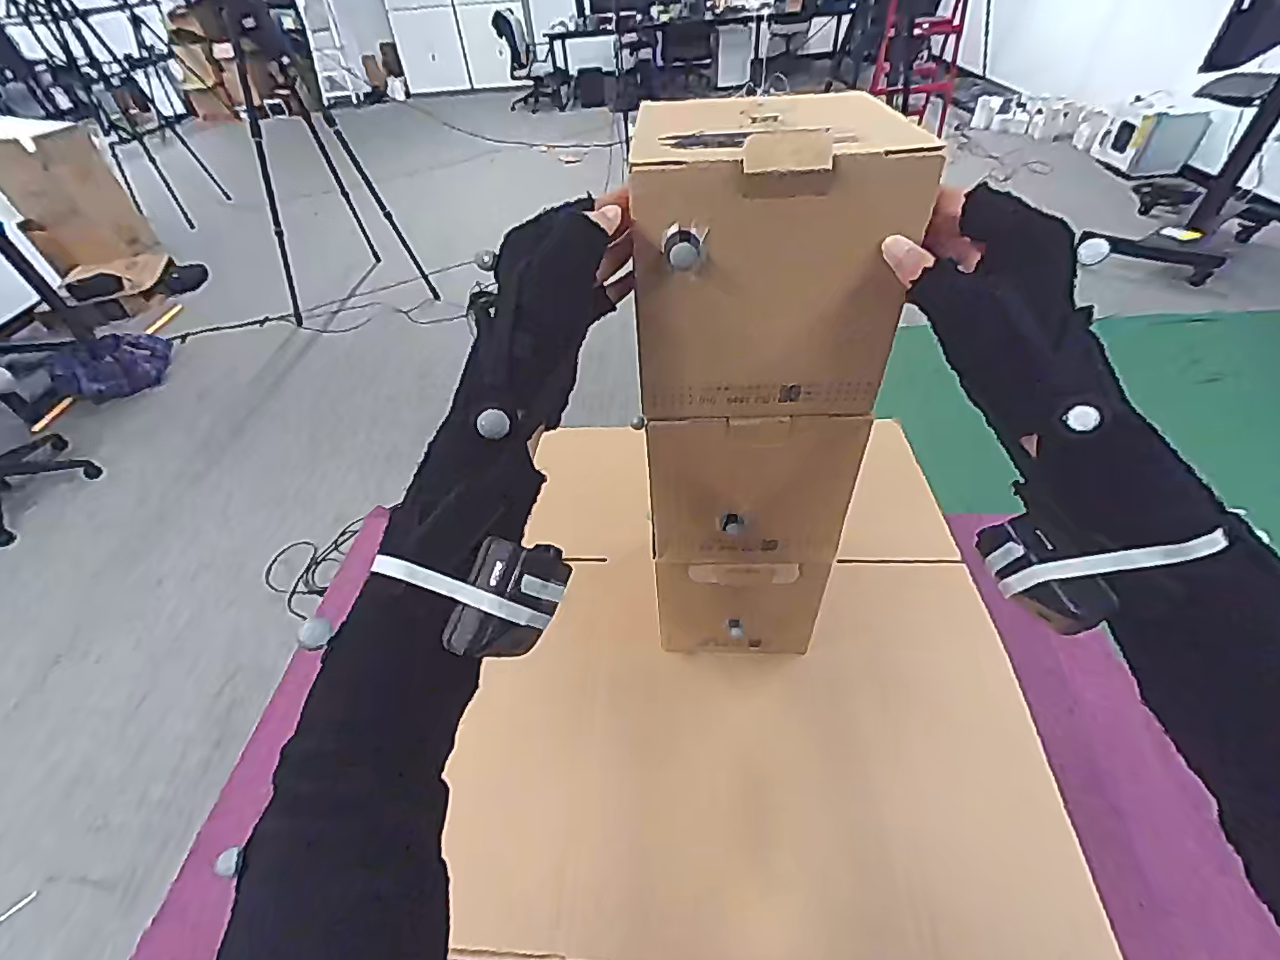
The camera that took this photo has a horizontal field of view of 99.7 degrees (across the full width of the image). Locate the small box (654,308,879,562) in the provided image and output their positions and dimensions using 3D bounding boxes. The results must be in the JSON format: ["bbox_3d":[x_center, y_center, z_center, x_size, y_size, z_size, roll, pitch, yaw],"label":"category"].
[{"bbox_3d":[0.098,-0.044,0.507,0.168,0.176,0.179,-1,44,3],"label":"small box"}]

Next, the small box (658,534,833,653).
[{"bbox_3d":[0.106,0.074,0.619,0.168,0.176,0.179,0,44,5],"label":"small box"}]
